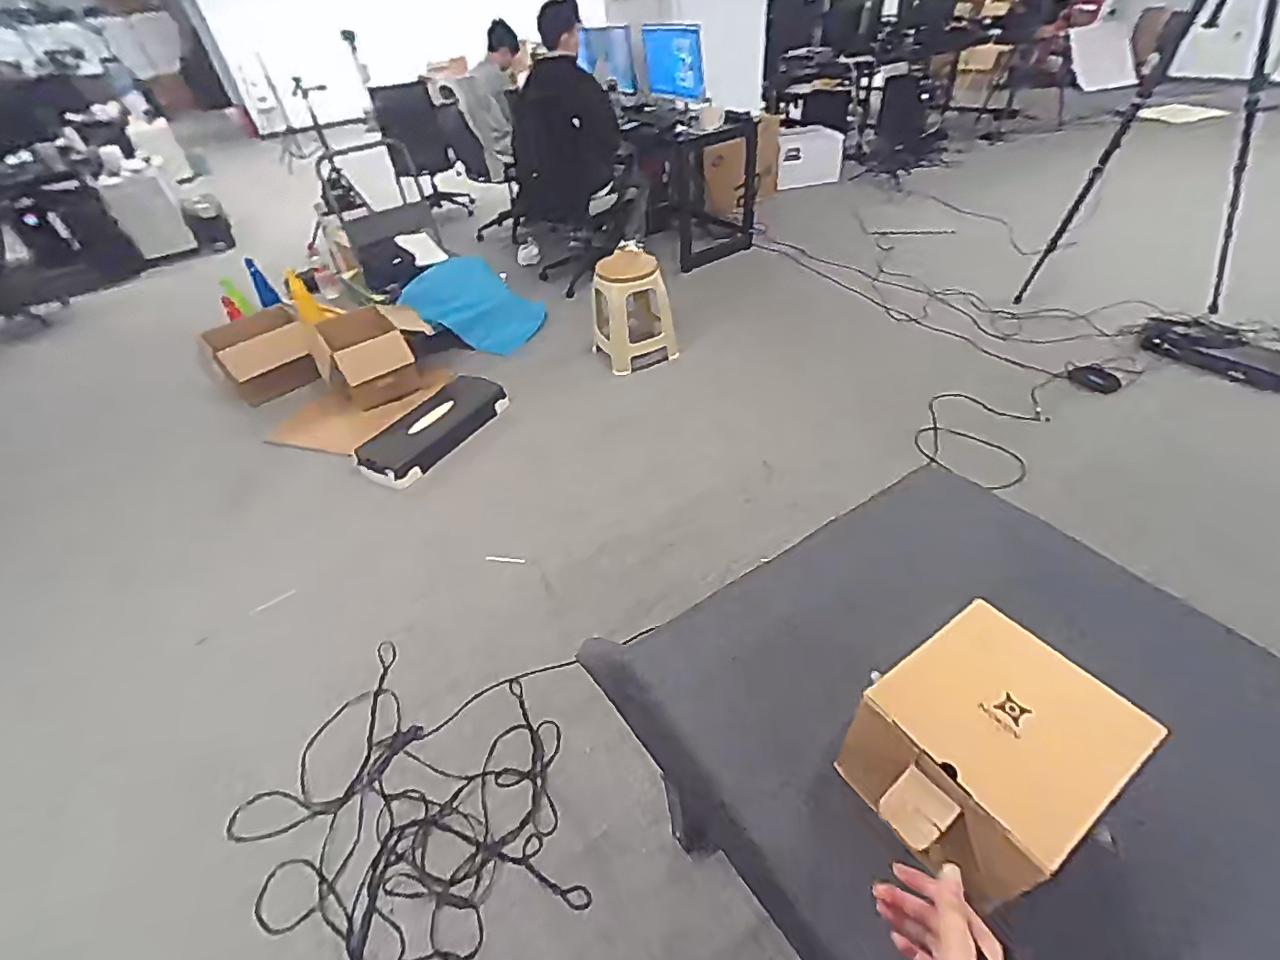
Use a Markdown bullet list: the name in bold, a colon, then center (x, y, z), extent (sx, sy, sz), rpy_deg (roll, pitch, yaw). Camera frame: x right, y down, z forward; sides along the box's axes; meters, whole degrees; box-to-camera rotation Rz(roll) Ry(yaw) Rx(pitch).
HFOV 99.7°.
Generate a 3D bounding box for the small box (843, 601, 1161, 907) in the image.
- **small box**: center (0.322, 0.258, 0.519), extent (0.179, 0.176, 0.168), rpy_deg (-28, 47, -22)
